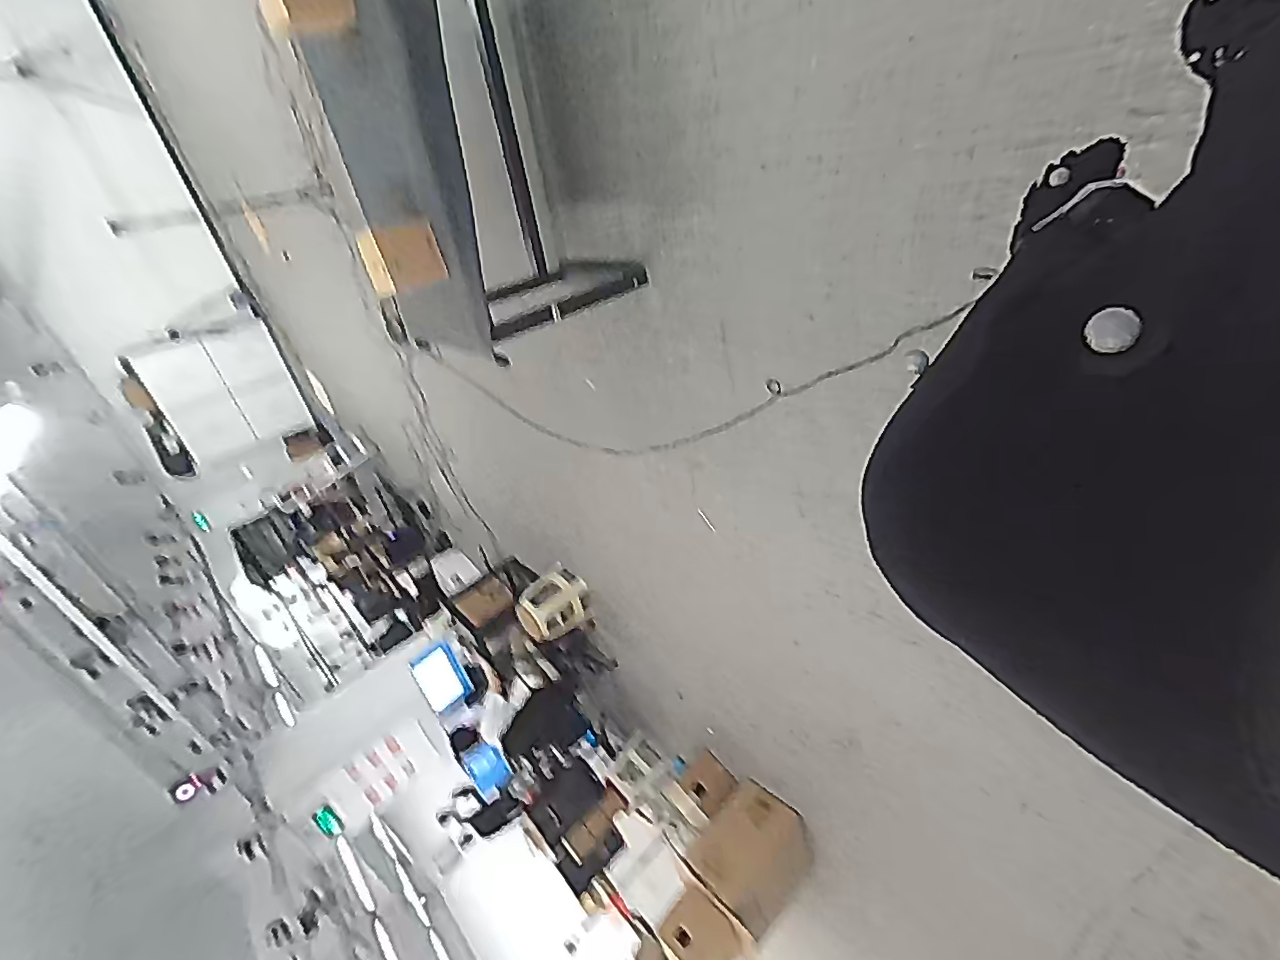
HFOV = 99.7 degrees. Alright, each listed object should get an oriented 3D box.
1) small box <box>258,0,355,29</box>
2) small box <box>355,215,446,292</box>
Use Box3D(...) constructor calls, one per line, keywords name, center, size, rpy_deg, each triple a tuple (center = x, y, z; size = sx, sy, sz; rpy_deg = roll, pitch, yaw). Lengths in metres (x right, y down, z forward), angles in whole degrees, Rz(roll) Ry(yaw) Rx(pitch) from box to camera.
Box3D(name="small box", center=(-0.803, -1.183, 1.267), size=(0.179, 0.176, 0.168), rpy_deg=(23, 137, 41))
Box3D(name="small box", center=(-0.694, -0.658, 1.574), size=(0.179, 0.176, 0.168), rpy_deg=(17, 132, 49))
